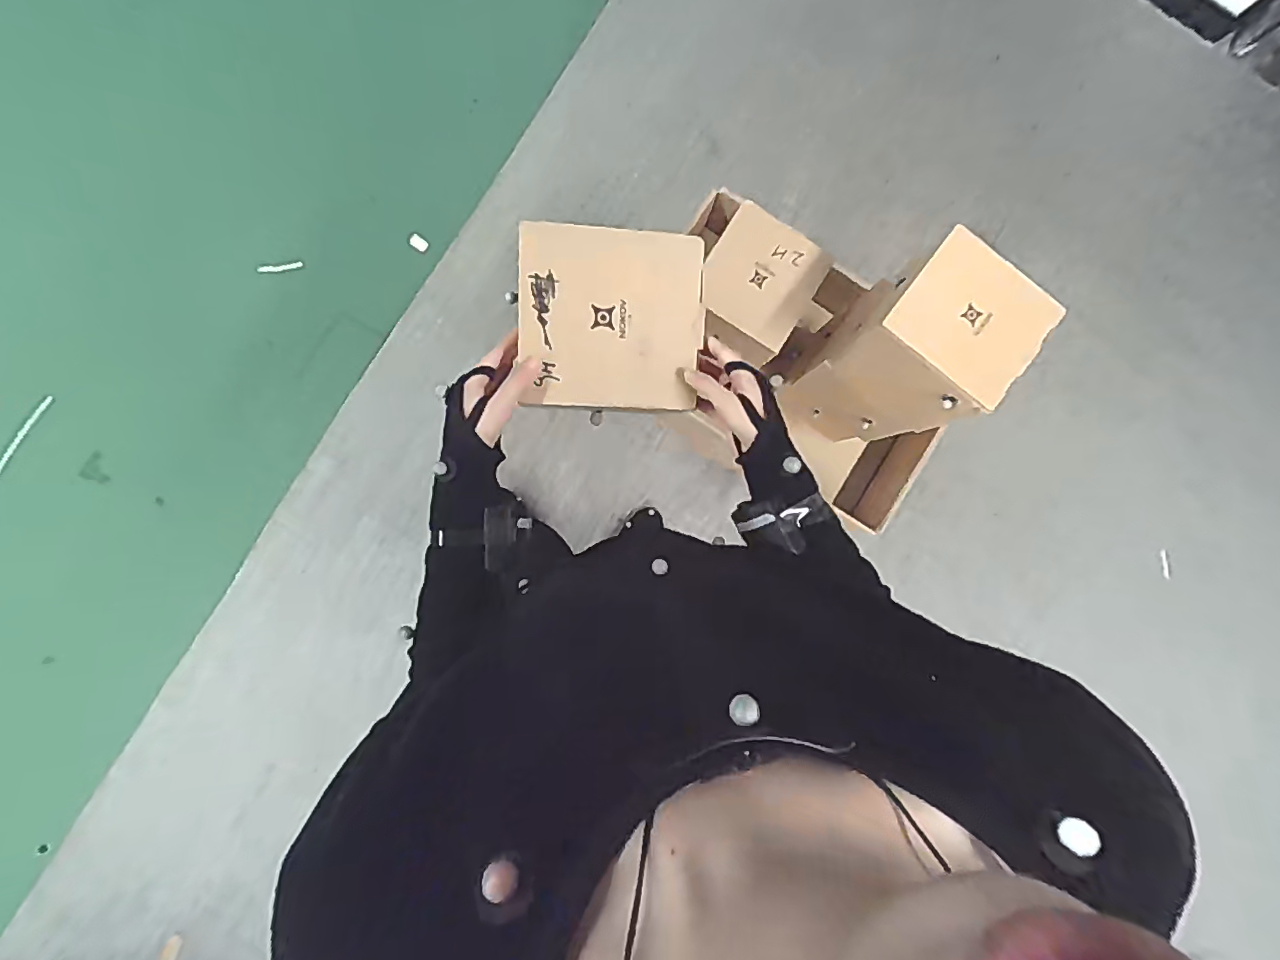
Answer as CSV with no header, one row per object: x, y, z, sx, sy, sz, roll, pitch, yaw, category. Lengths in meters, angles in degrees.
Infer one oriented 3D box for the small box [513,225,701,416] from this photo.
-0.044,-0.156,0.587,0.179,0.176,0.168,1,96,-10,small box

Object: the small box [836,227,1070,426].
0.402,-0.189,0.729,0.179,0.176,0.168,38,87,-1,small box

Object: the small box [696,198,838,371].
0.179,-0.300,0.876,0.168,0.176,0.179,33,88,-4,small box
